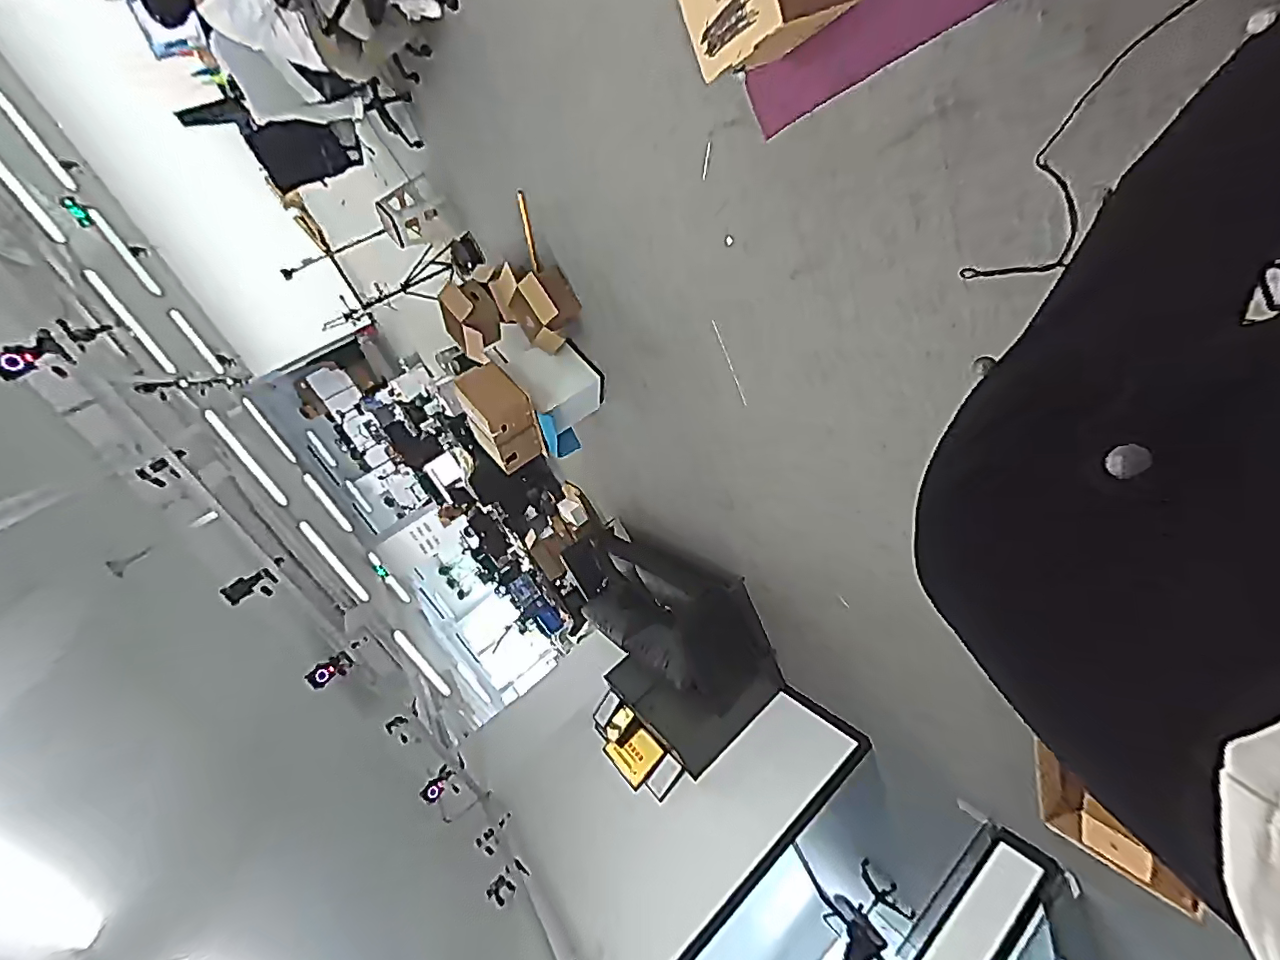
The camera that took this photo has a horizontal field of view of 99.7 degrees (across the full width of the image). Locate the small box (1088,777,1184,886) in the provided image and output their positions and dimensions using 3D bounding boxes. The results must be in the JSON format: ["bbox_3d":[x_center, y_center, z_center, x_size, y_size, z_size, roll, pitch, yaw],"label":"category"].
[{"bbox_3d":[1.473,1.039,1.607,0.168,0.176,0.179,22,142,57],"label":"small box"}]
